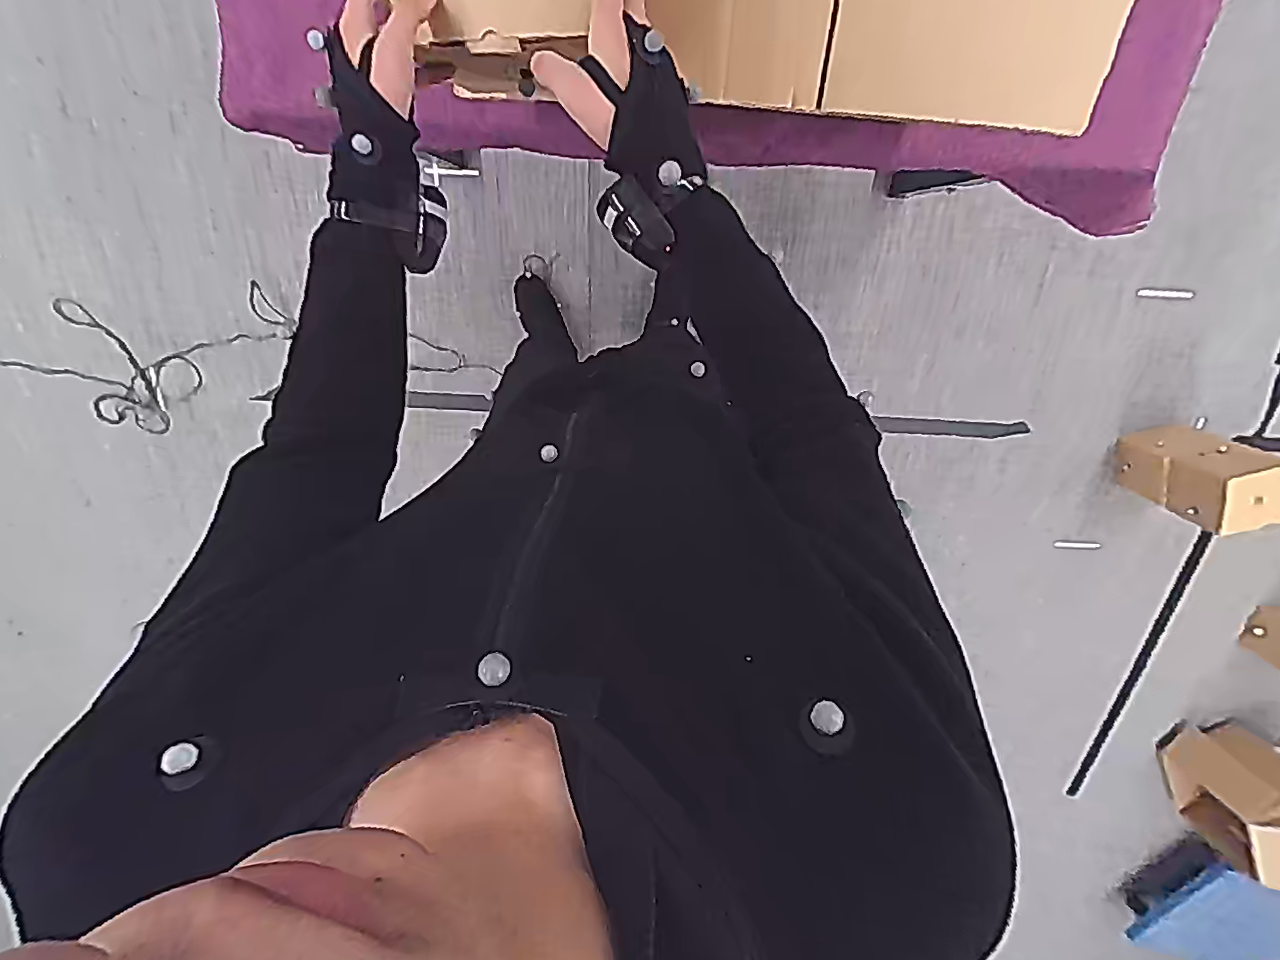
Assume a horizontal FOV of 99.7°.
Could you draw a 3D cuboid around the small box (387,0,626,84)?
[{"bbox_3d":[-0.103,-0.450,0.452,0.168,0.176,0.179,3,116,6],"label":"small box"}]
